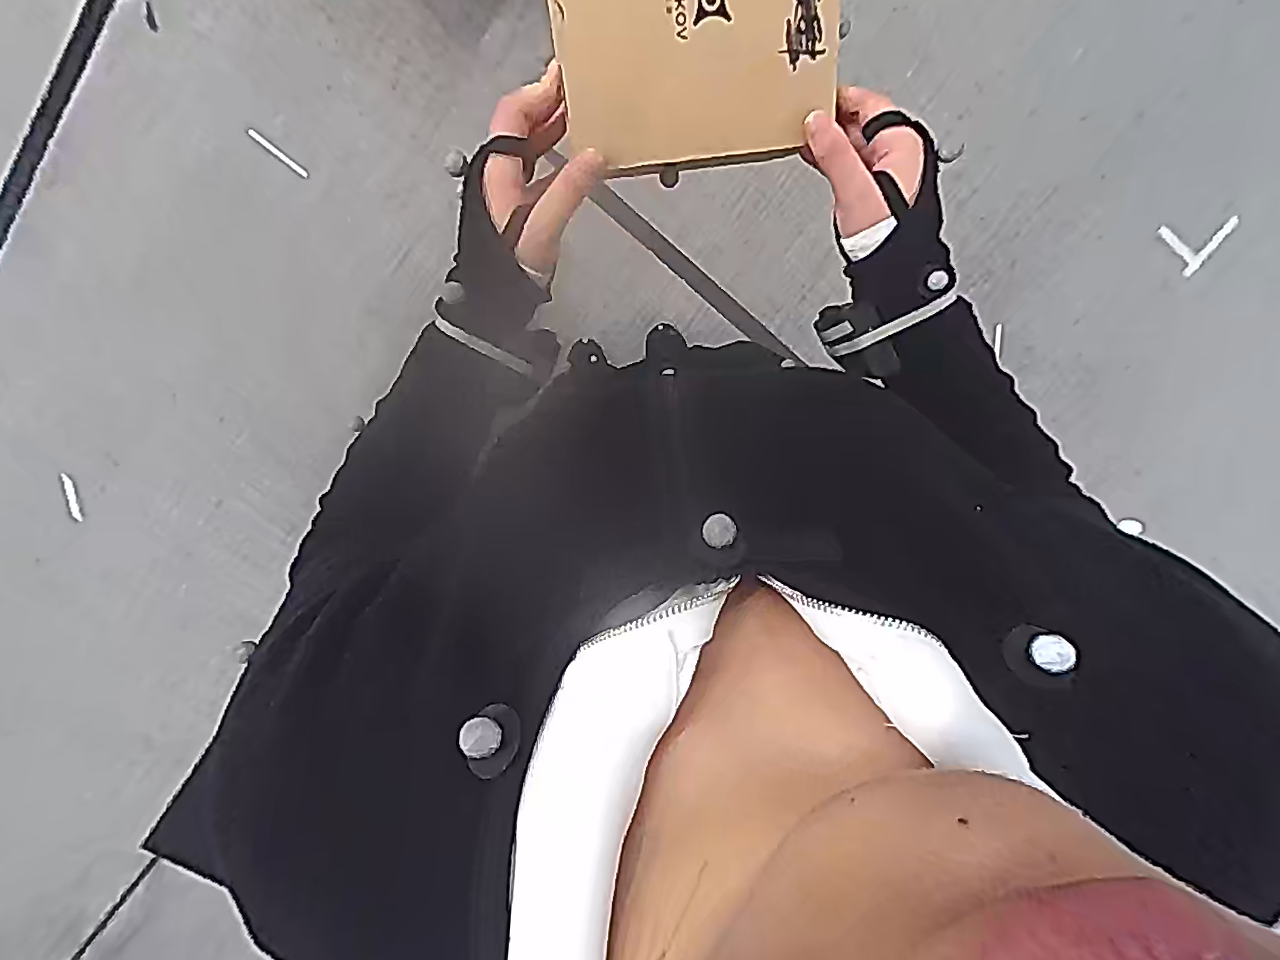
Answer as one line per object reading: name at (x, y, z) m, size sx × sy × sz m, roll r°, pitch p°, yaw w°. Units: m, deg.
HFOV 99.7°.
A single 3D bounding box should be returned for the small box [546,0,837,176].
small box at (0.029, -0.324, 0.391) m, size 0.179 × 0.176 × 0.168 m, roll -6°, pitch 118°, yaw 0°
